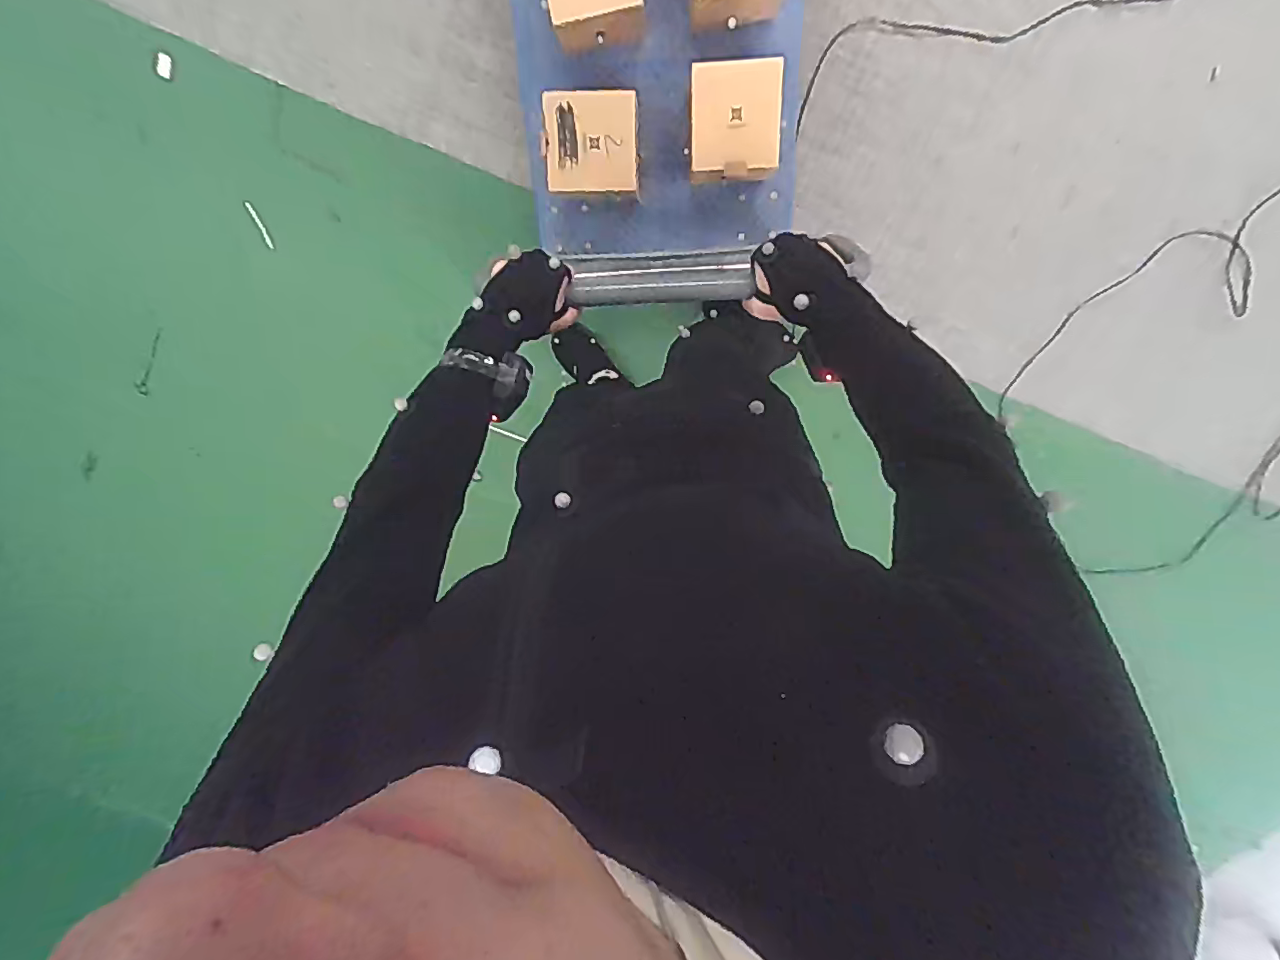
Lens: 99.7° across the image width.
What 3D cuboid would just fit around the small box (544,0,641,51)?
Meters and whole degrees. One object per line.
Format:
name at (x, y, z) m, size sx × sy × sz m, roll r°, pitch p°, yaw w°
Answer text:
small box at (-0.092, -0.923, 0.991) m, size 0.168 × 0.176 × 0.179 m, roll -8°, pitch 113°, yaw 5°

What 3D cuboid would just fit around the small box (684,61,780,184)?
small box at (0.174, -0.701, 1.077) m, size 0.168 × 0.176 × 0.179 m, roll -1°, pitch 113°, yaw 3°

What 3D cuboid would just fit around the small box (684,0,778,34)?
small box at (0.162, -0.947, 0.971) m, size 0.168 × 0.176 × 0.179 m, roll -5°, pitch 114°, yaw 5°
